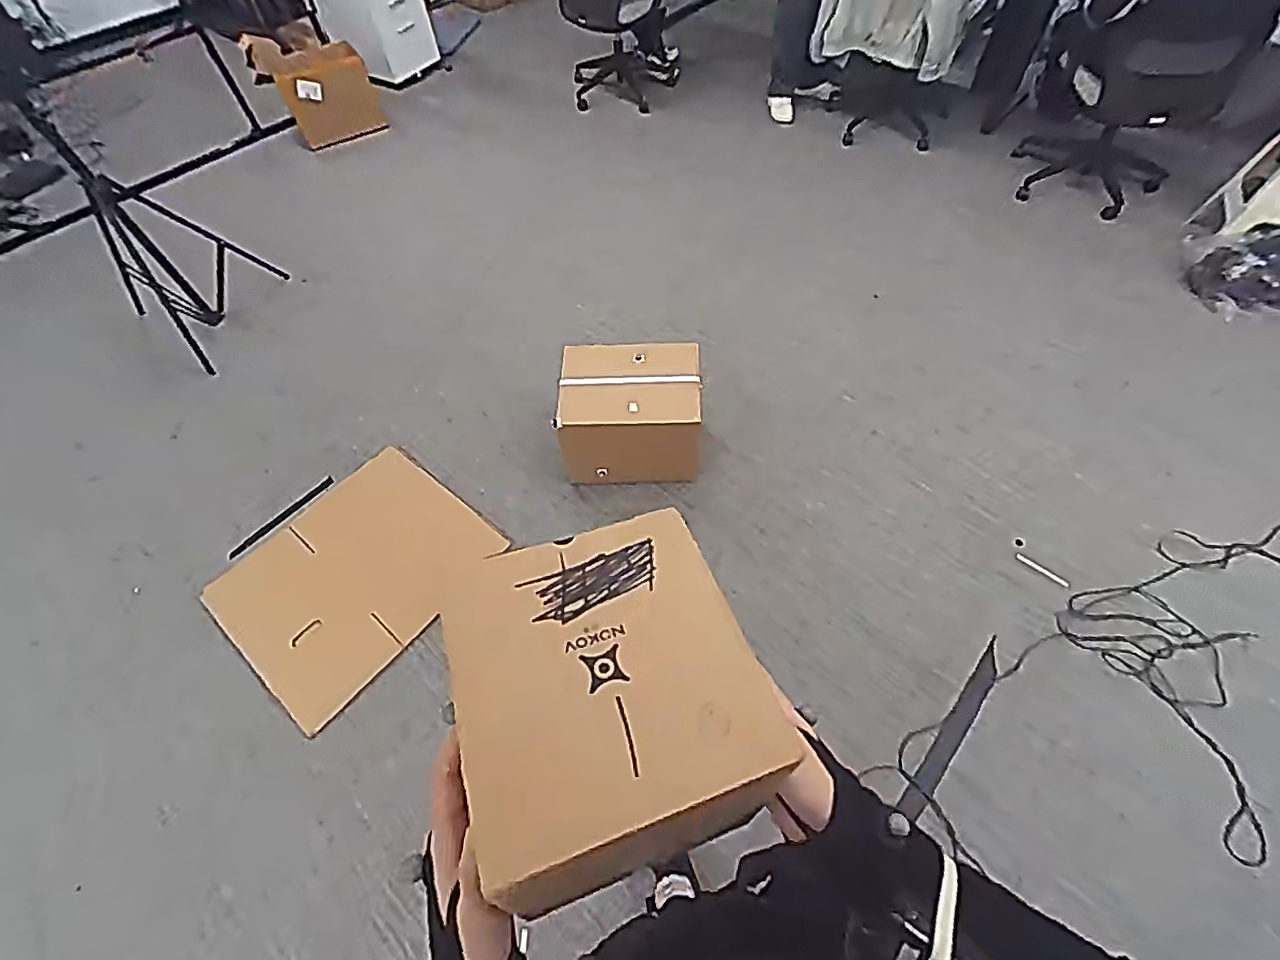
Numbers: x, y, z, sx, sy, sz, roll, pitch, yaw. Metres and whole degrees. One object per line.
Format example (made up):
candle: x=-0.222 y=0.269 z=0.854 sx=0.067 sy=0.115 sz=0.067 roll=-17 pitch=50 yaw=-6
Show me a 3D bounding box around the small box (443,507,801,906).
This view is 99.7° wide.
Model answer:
small box: x=-0.024 y=0.150 z=0.367 sx=0.168 sy=0.176 sz=0.179 roll=-14 pitch=50 yaw=-14
